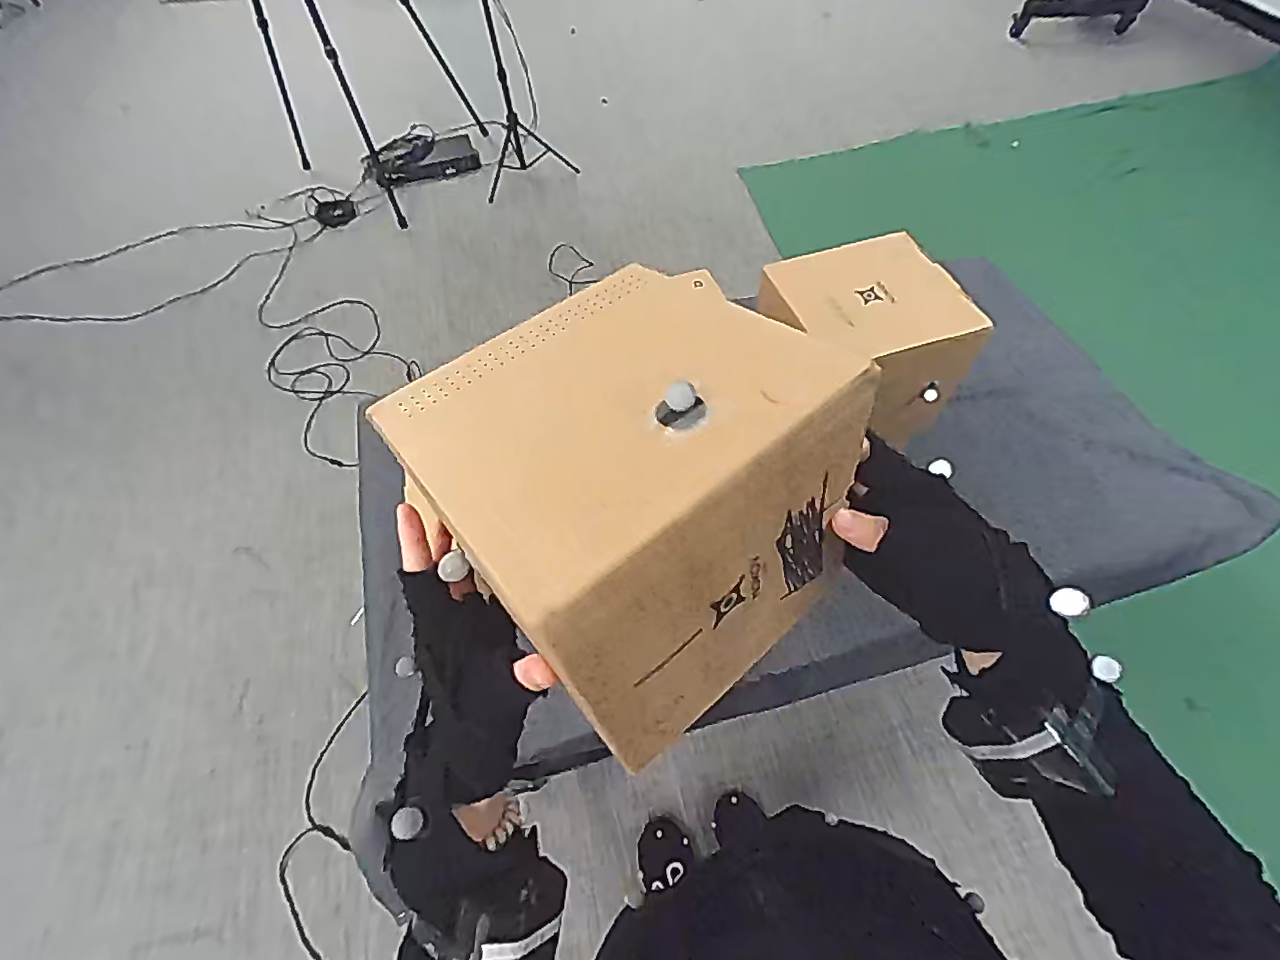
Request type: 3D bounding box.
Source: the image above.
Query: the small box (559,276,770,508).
[{"bbox_3d":[0.026,-0.092,0.614,0.179,0.176,0.168,-19,61,-7],"label":"small box"}]
